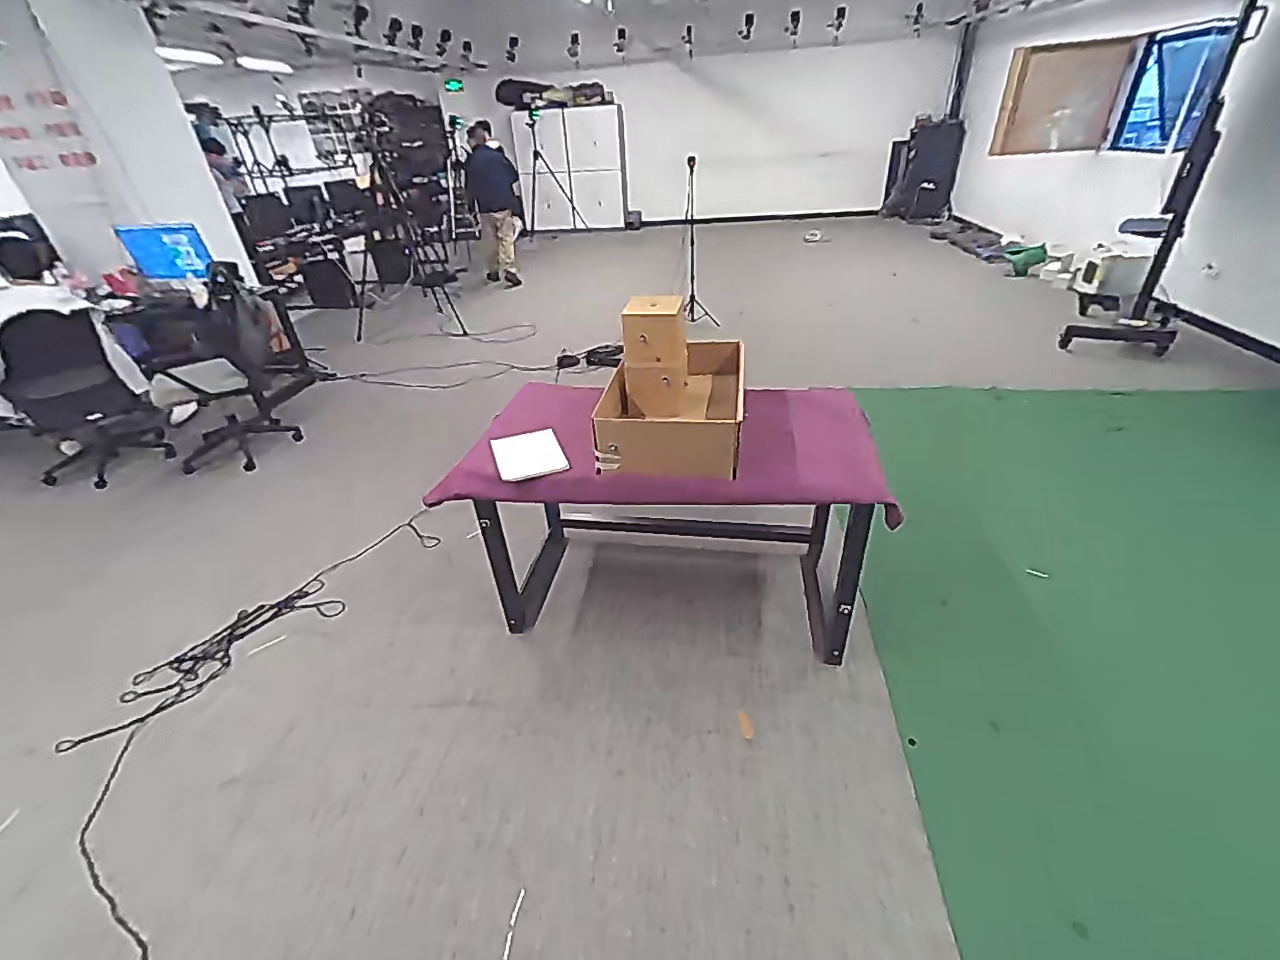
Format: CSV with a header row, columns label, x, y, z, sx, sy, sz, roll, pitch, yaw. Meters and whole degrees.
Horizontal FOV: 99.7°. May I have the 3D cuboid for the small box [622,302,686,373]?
label,x,y,z,sx,sy,sz,roll,pitch,yaw
small box,0.049,-0.436,1.659,0.168,0.176,0.179,3,34,12
